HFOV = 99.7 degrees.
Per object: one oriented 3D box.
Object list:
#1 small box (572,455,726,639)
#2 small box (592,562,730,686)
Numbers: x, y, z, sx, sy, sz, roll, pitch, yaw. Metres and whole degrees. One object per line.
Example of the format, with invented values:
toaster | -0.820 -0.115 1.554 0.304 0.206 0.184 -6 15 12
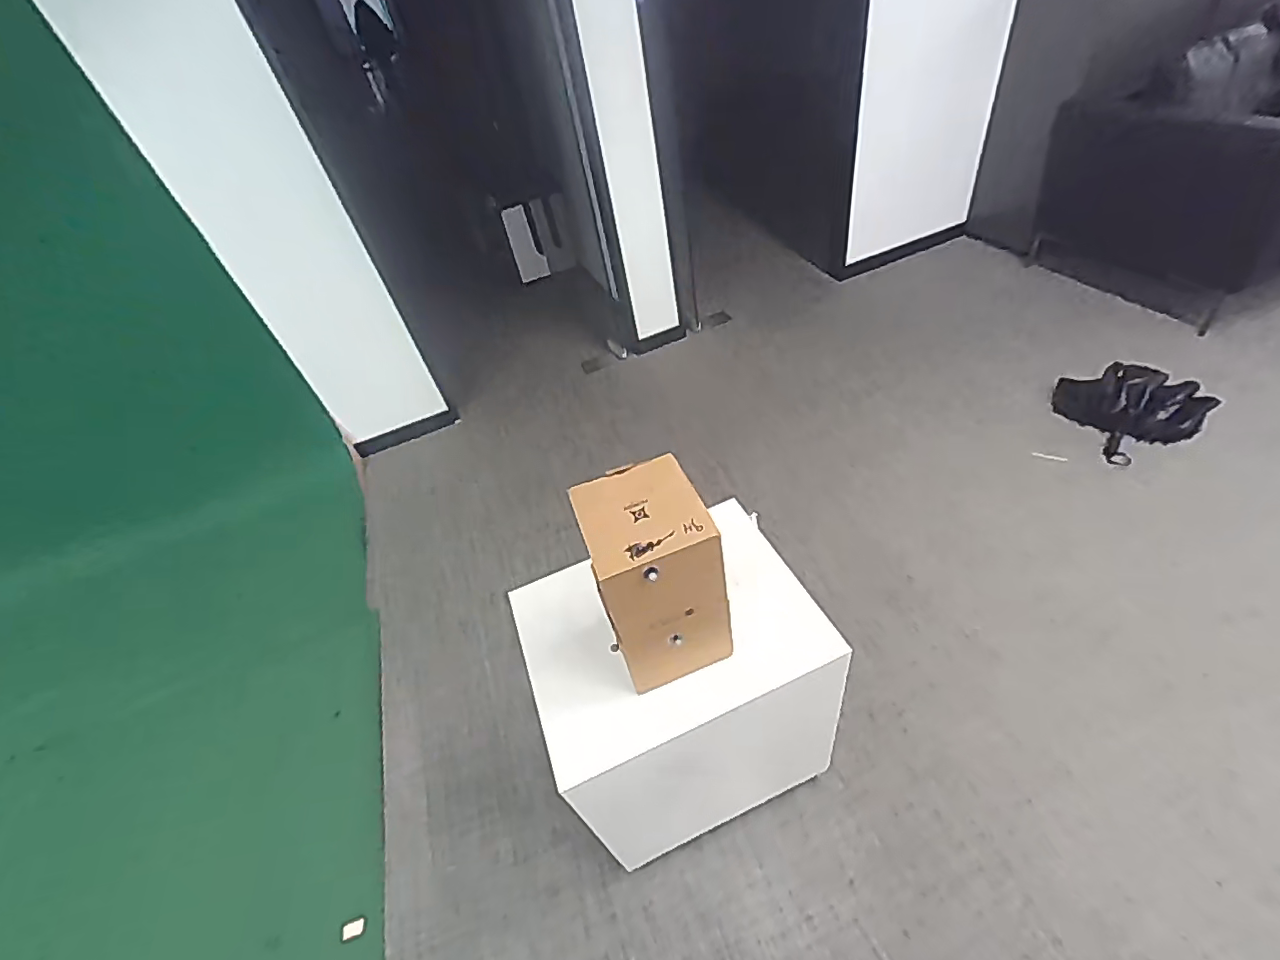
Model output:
small box | 0.015 0.098 0.794 0.168 0.176 0.179 -21 45 -9
small box | 0.038 0.214 0.904 0.179 0.176 0.168 -20 44 -8
